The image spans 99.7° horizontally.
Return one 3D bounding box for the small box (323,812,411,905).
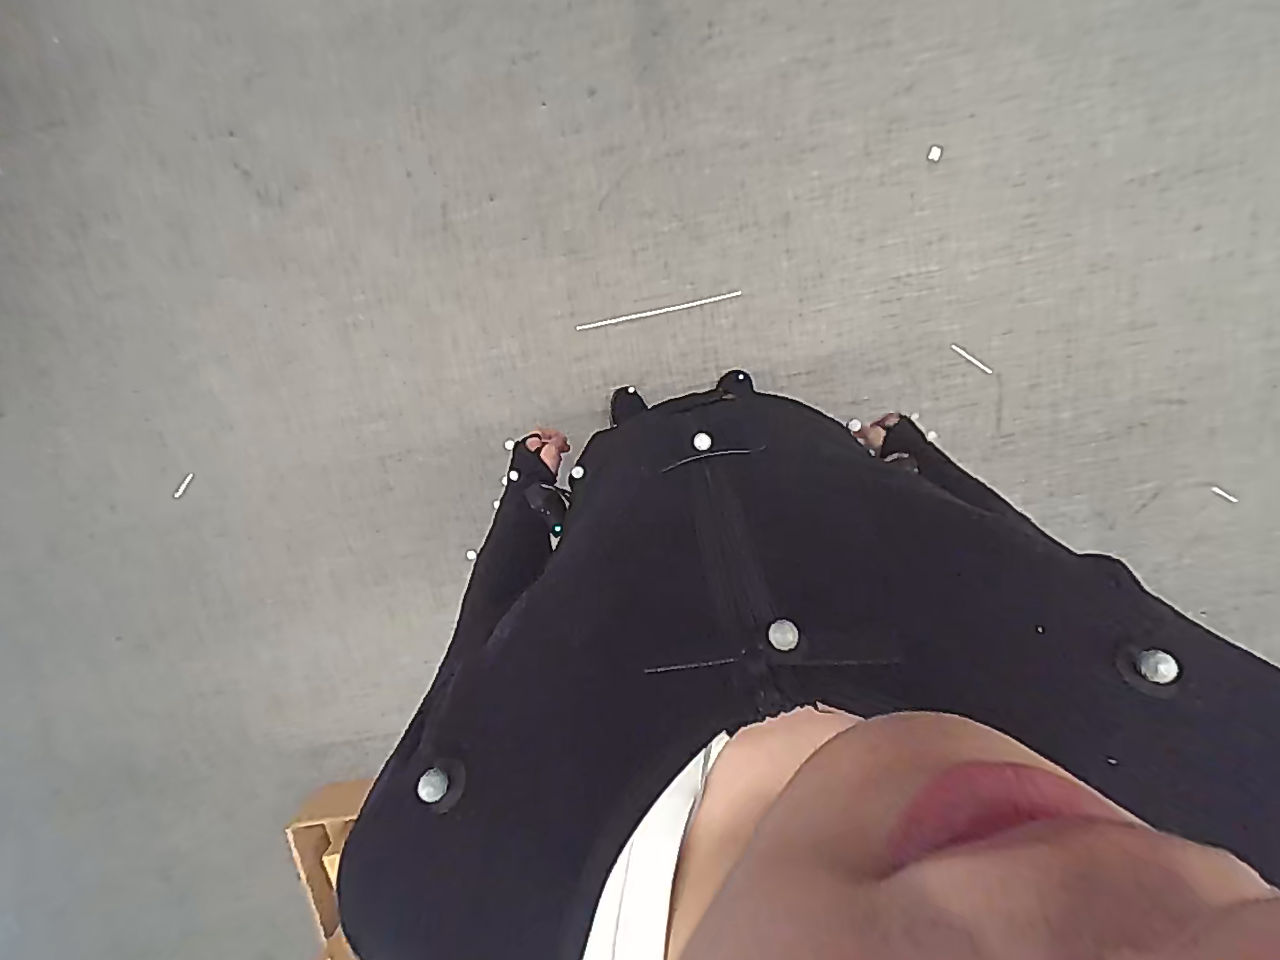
[{"bbox_3d":[-0.878,1.220,1.751,0.179,0.176,0.168,-12,100,2],"label":"small box"}]
